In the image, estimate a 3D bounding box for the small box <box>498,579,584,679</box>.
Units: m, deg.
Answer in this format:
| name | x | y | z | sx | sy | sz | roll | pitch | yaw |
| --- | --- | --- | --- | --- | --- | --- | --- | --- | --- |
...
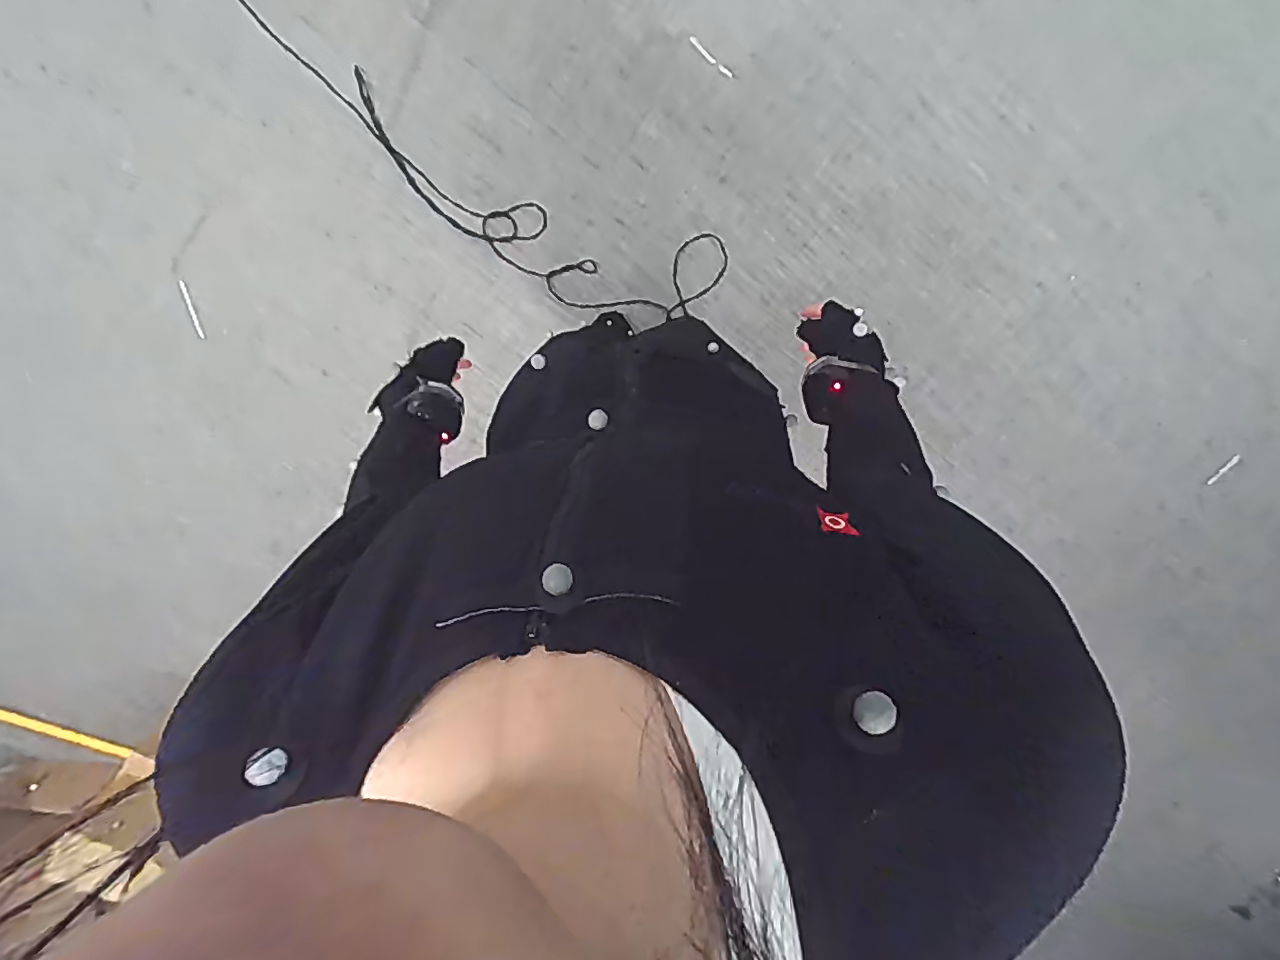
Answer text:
| name | x | y | z | sx | sy | sz | roll | pitch | yaw |
| --- | --- | --- | --- | --- | --- | --- | --- | --- | --- |
| small box | -0.273 | 0.420 | 1.539 | 0.168 | 0.176 | 0.179 | 34 | 104 | -11 |
